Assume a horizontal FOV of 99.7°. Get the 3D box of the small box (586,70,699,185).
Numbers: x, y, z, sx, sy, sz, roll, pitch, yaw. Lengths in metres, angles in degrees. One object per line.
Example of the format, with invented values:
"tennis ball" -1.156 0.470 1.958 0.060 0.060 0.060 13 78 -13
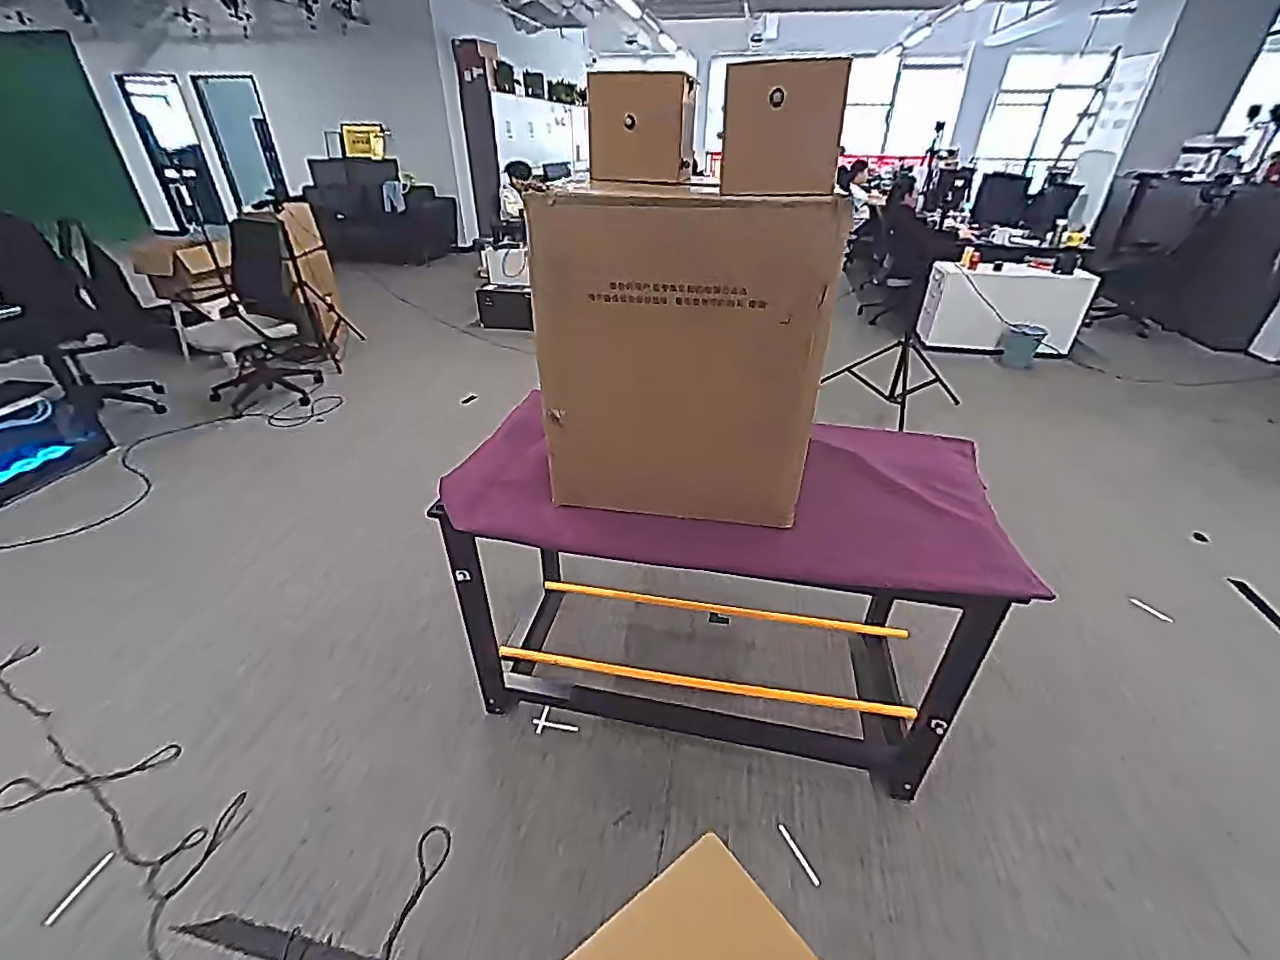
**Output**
"small box" 0.010 -0.664 1.028 0.179 0.176 0.168 7 32 13
